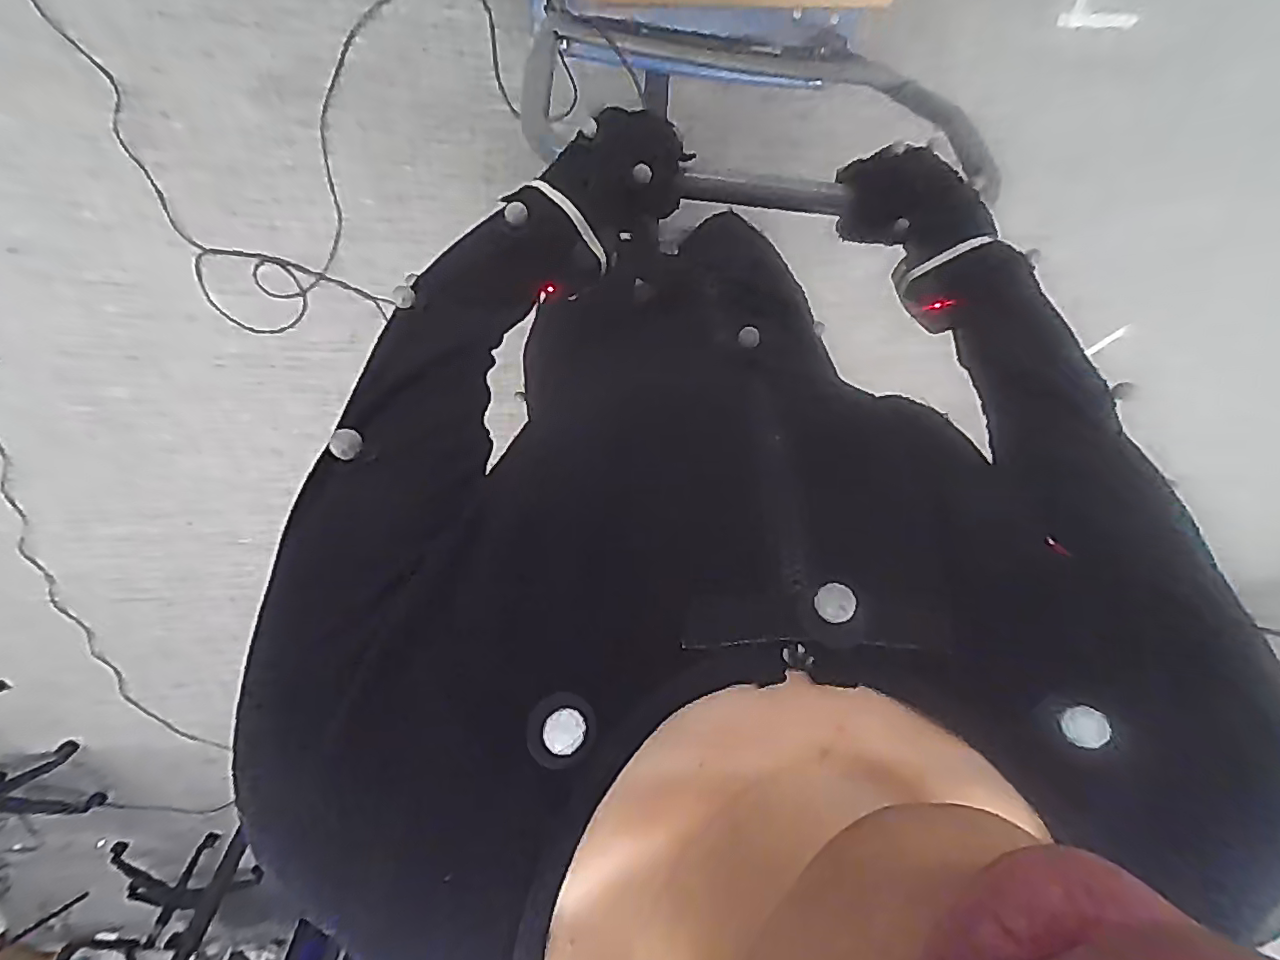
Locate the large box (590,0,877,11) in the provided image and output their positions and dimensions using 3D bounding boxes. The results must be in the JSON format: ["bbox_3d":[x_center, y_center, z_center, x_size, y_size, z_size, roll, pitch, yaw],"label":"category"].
[{"bbox_3d":[0.117,-0.853,0.734,0.408,0.320,0.320,-3,134,-4],"label":"large box"}]
